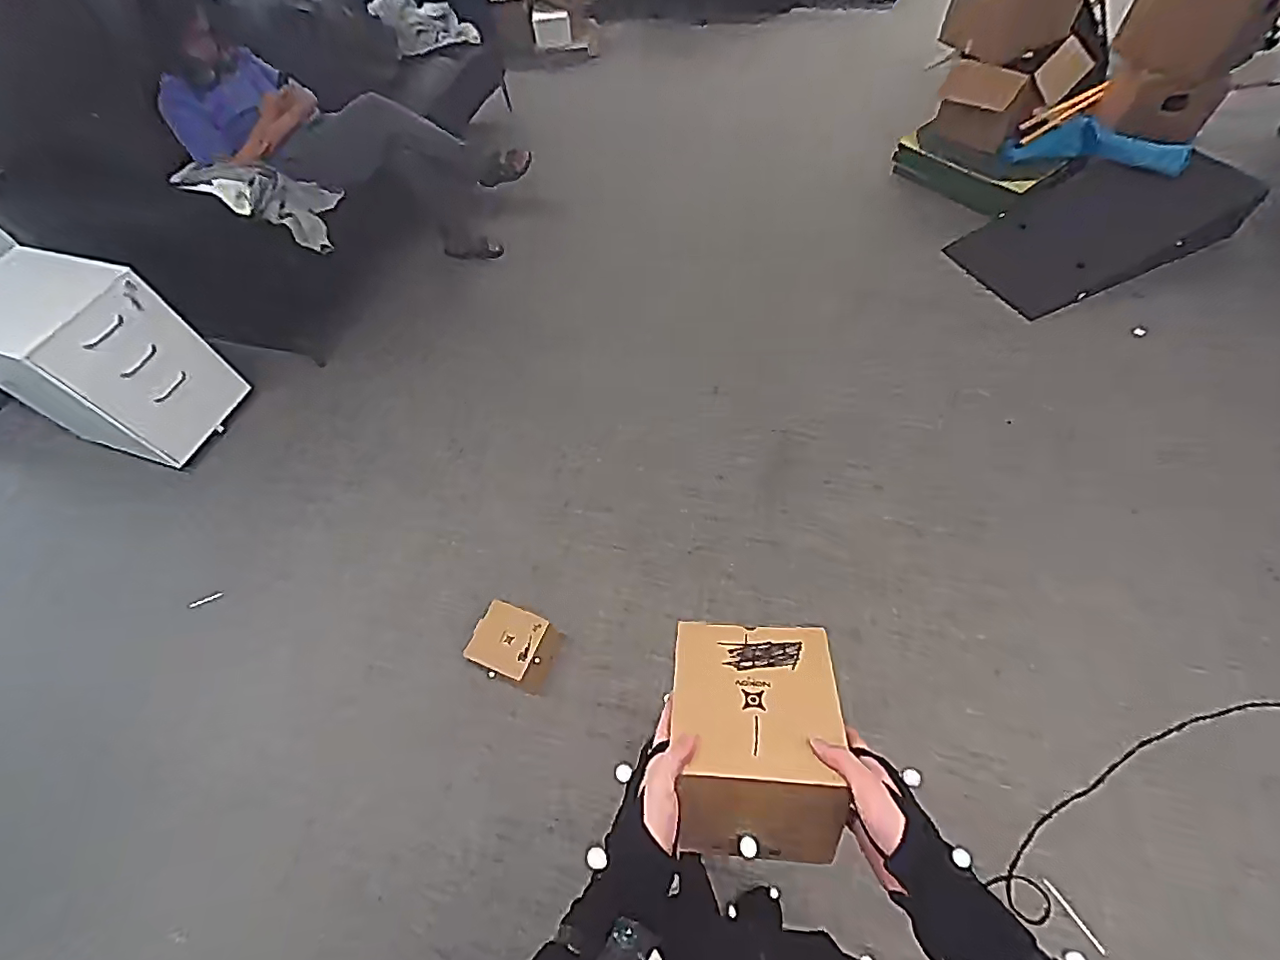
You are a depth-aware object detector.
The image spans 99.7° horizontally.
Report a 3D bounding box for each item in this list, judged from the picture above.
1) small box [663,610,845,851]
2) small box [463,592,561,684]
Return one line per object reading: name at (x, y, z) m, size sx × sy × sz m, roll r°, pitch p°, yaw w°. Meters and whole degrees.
small box at (0.117, 0.270, 0.598) m, size 0.168 × 0.176 × 0.179 m, roll 1°, pitch 35°, yaw 9°
small box at (-0.339, 0.435, 1.470) m, size 0.179 × 0.176 × 0.168 m, roll 18°, pitch 60°, yaw 17°
